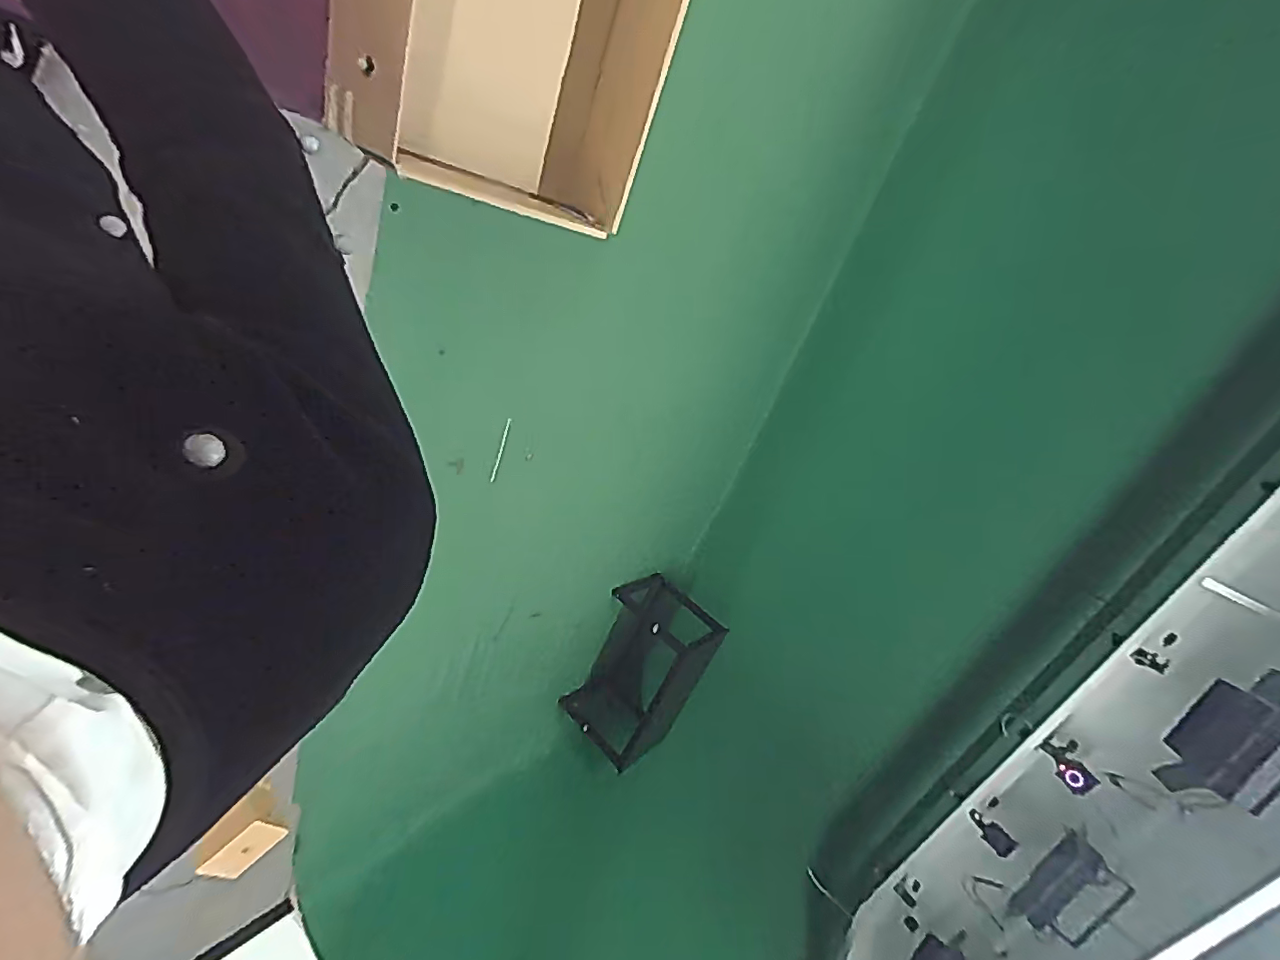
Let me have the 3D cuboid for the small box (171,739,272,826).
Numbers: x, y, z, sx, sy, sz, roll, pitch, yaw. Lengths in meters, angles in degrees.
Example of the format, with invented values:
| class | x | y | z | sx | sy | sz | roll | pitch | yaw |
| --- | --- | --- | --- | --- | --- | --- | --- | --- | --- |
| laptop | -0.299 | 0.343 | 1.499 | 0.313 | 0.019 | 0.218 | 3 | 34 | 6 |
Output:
| class | x | y | z | sx | sy | sz | roll | pitch | yaw |
| --- | --- | --- | --- | --- | --- | --- | --- | --- | --- |
| small box | -1.290 | 0.940 | 1.660 | 0.179 | 0.176 | 0.168 | -39 | 148 | -25 |

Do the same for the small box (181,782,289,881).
| class | x | y | z | sx | sy | sz | roll | pitch | yaw |
| --- | --- | --- | --- | --- | --- | --- | --- | --- | --- |
| small box | -1.176 | 1.019 | 1.575 | 0.168 | 0.176 | 0.179 | -39 | 147 | -27 |
